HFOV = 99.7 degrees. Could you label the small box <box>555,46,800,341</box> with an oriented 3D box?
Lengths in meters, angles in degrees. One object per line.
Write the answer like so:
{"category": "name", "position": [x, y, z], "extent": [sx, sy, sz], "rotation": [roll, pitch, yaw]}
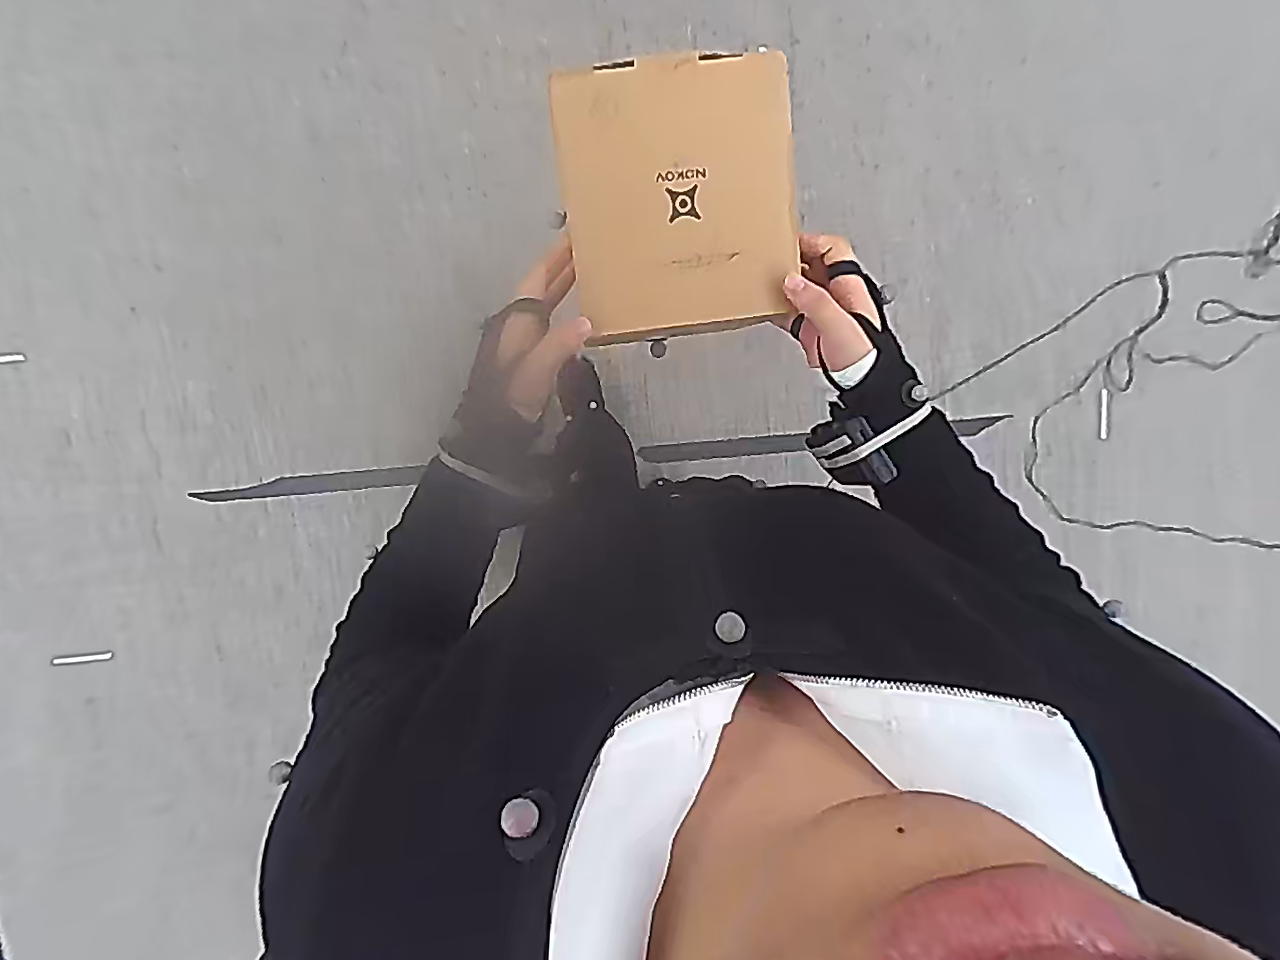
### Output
{"category": "small box", "position": [0.021, -0.220, 0.460], "extent": [0.168, 0.176, 0.179], "rotation": [-8, 102, -4]}
